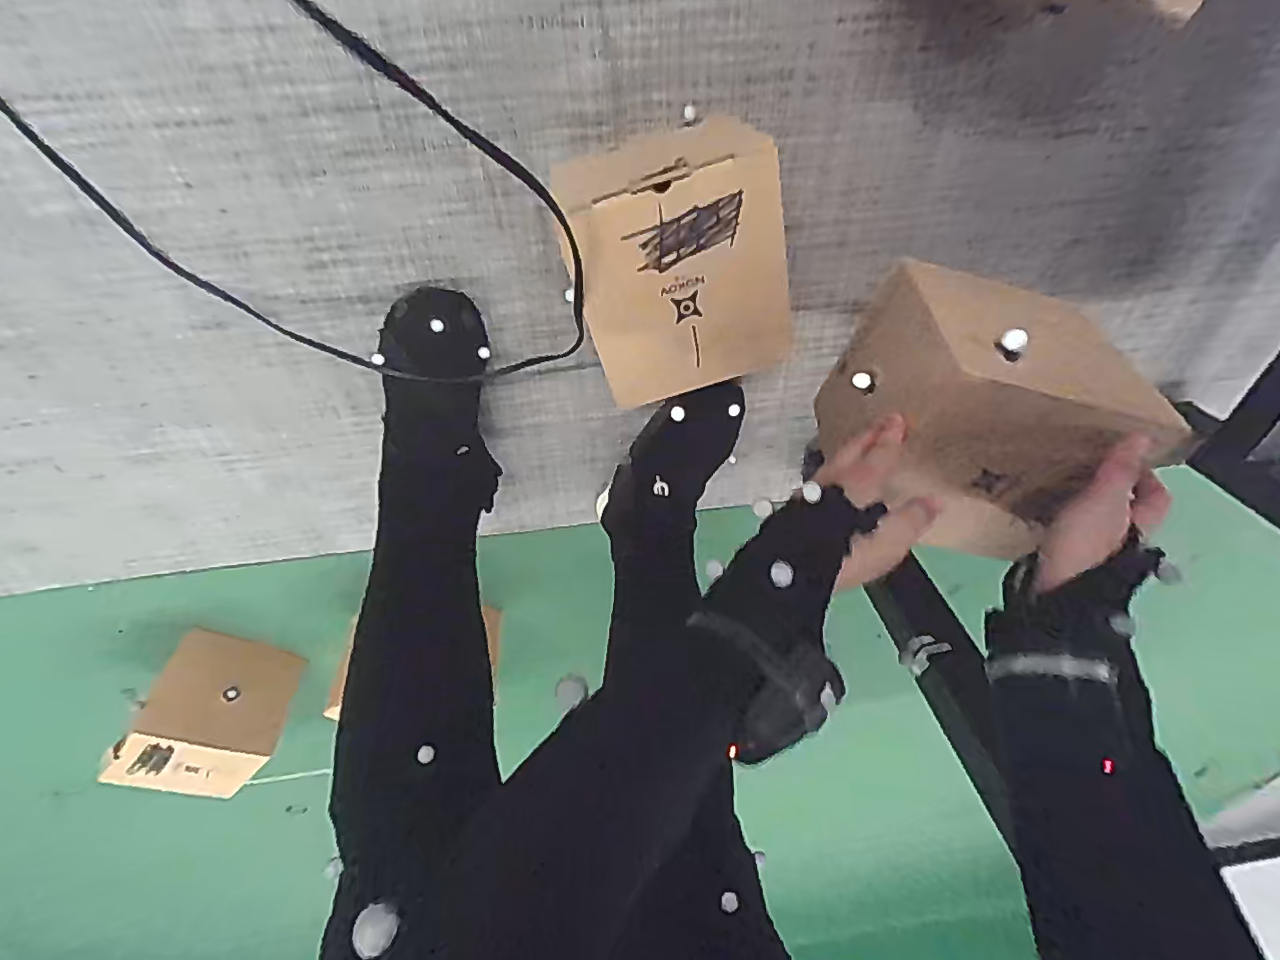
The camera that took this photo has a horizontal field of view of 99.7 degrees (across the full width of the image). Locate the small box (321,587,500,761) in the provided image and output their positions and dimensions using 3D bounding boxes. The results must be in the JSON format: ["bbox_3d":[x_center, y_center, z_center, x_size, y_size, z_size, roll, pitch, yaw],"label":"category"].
[{"bbox_3d":[-0.334,0.294,0.828,0.168,0.176,0.179,-35,125,19],"label":"small box"}]
